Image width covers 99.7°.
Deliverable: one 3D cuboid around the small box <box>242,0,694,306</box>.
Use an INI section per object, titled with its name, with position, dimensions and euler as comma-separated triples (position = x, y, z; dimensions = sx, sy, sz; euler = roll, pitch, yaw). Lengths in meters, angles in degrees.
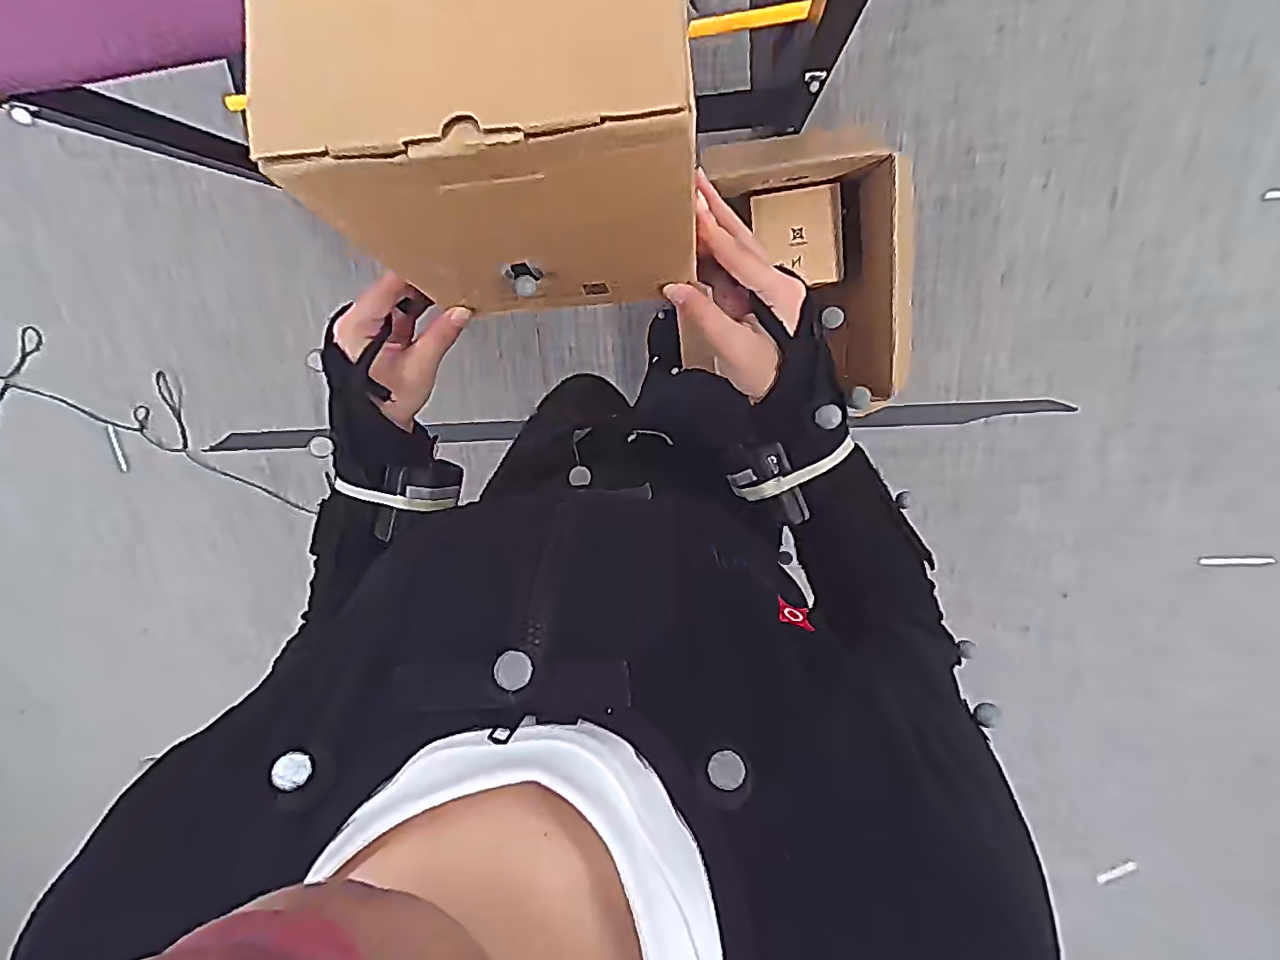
[small box]
position = -0.059, -0.208, 0.276
dimensions = 0.168, 0.176, 0.179
euler = -3, 88, 7
